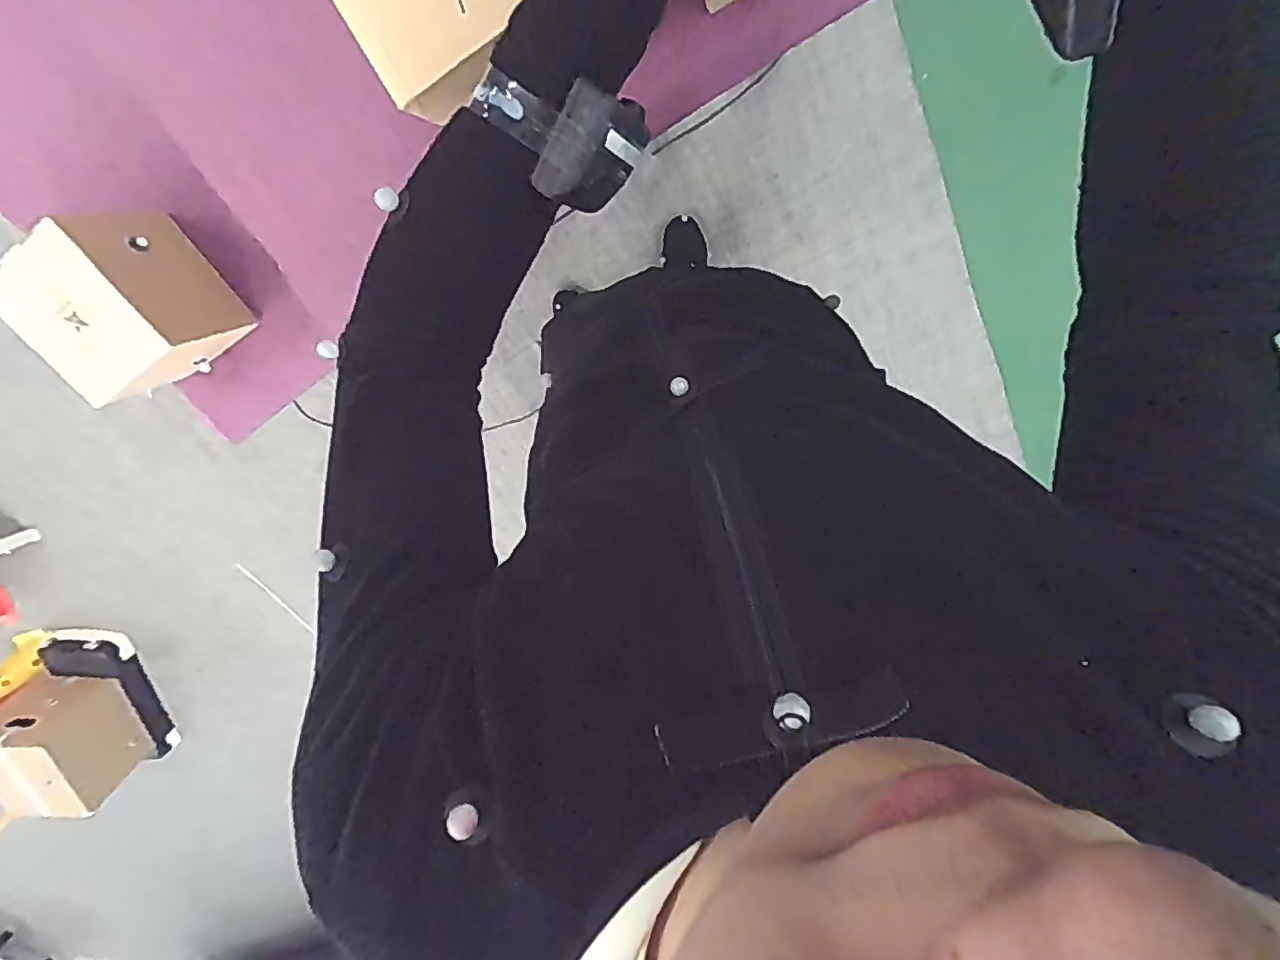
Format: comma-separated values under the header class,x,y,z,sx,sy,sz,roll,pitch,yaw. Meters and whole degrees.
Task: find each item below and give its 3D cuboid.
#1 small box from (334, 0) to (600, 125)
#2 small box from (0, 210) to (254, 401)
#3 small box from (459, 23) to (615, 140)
class,x,y,z,sx,sy,sz,roll,pitch,yaw
small box,-0.148,-0.421,0.429,0.168,0.176,0.179,-24,113,15
small box,-0.691,-0.239,0.733,0.168,0.176,0.179,-26,112,16
small box,-0.140,-0.493,0.576,0.168,0.176,0.179,-25,112,15
